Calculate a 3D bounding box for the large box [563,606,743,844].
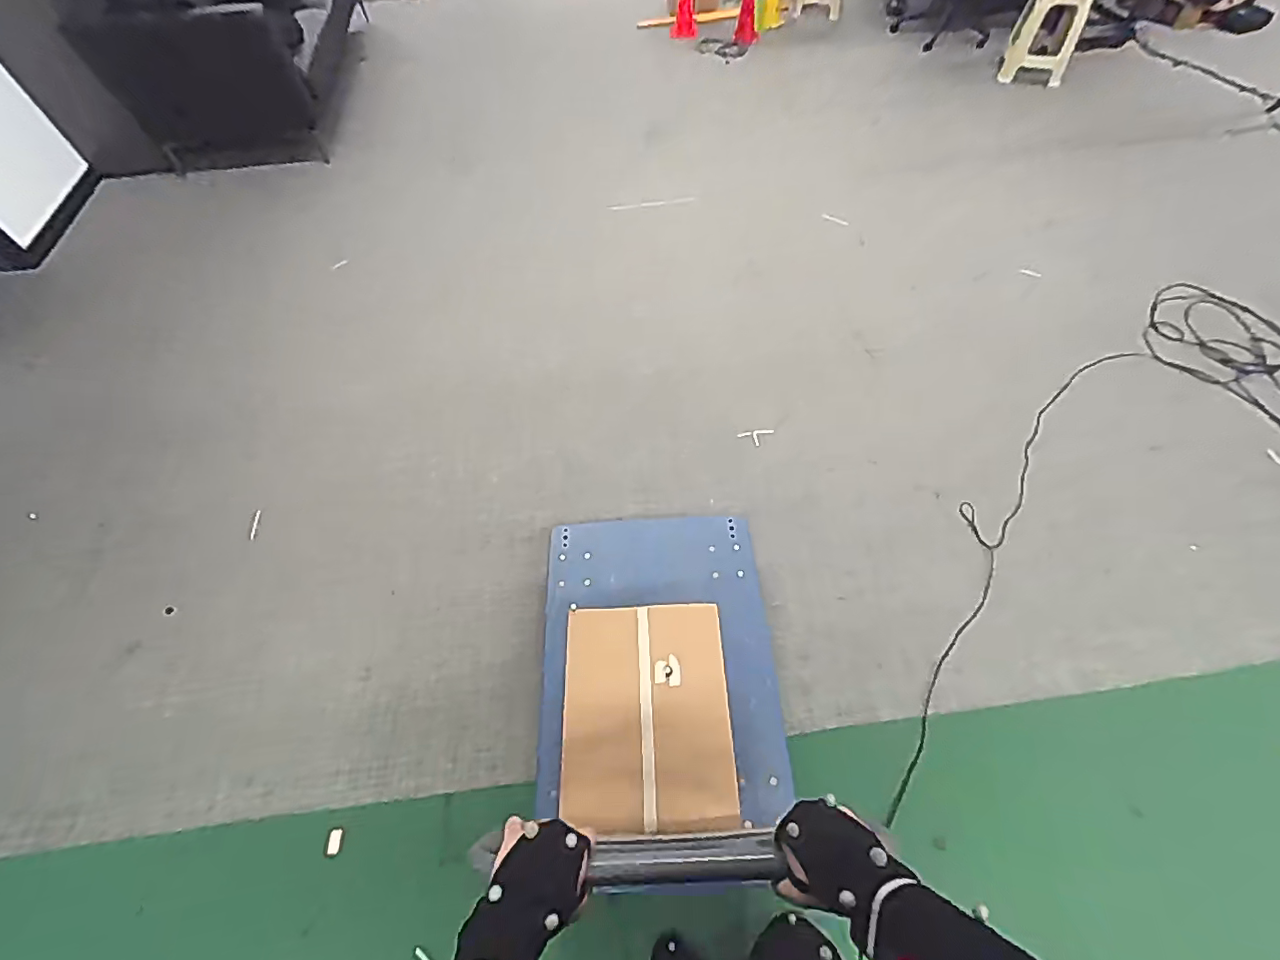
[{"bbox_3d":[0.021,0.522,1.148,0.320,0.320,0.408,-2,55,0],"label":"large box"}]
